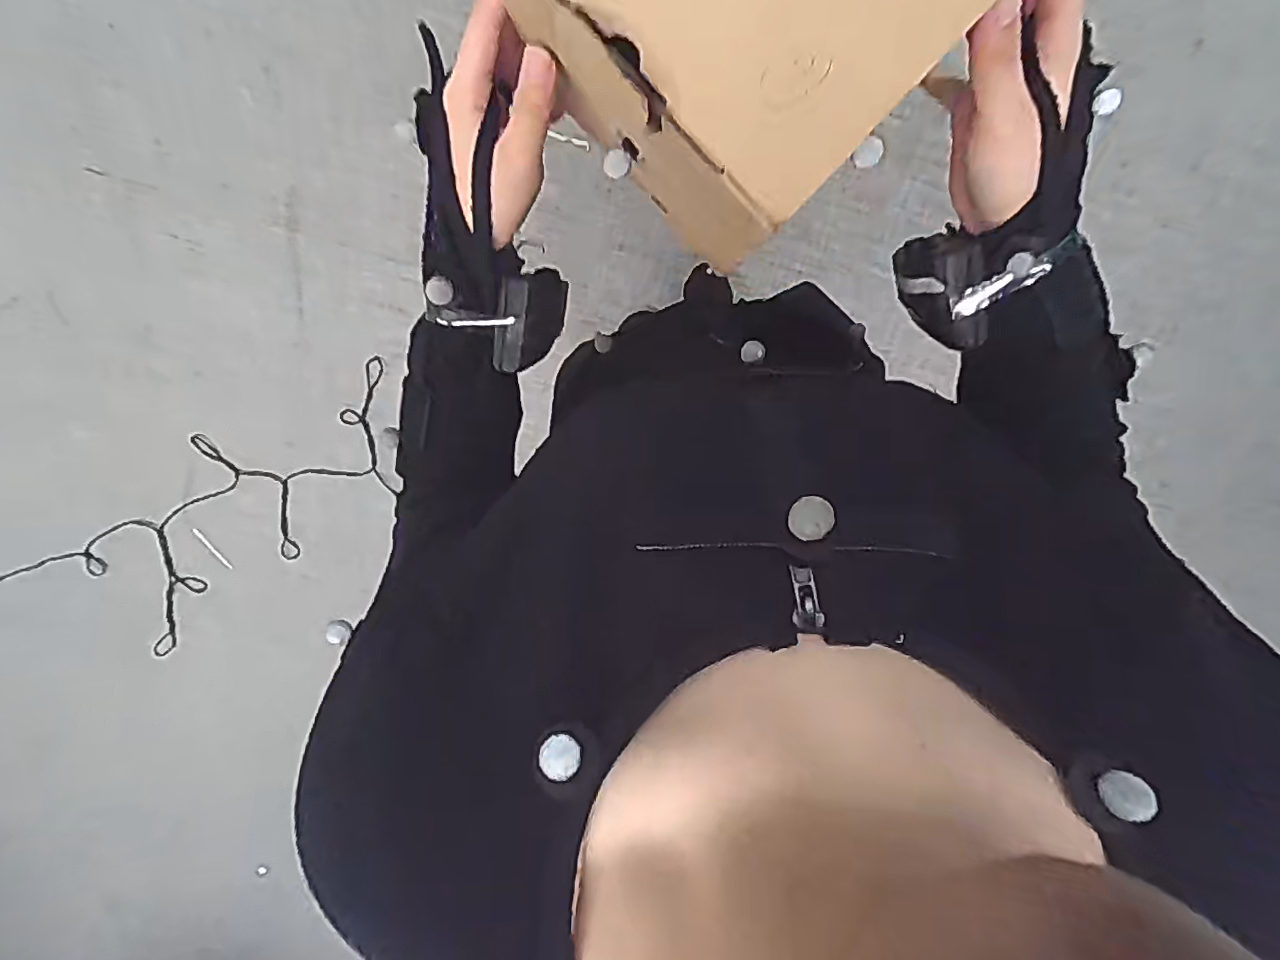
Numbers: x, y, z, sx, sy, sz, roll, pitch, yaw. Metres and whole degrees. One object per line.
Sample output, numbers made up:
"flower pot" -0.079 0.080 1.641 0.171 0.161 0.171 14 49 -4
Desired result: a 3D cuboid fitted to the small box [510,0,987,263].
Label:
"small box" 0.053 -0.231 0.258 0.168 0.176 0.179 44 102 -9
